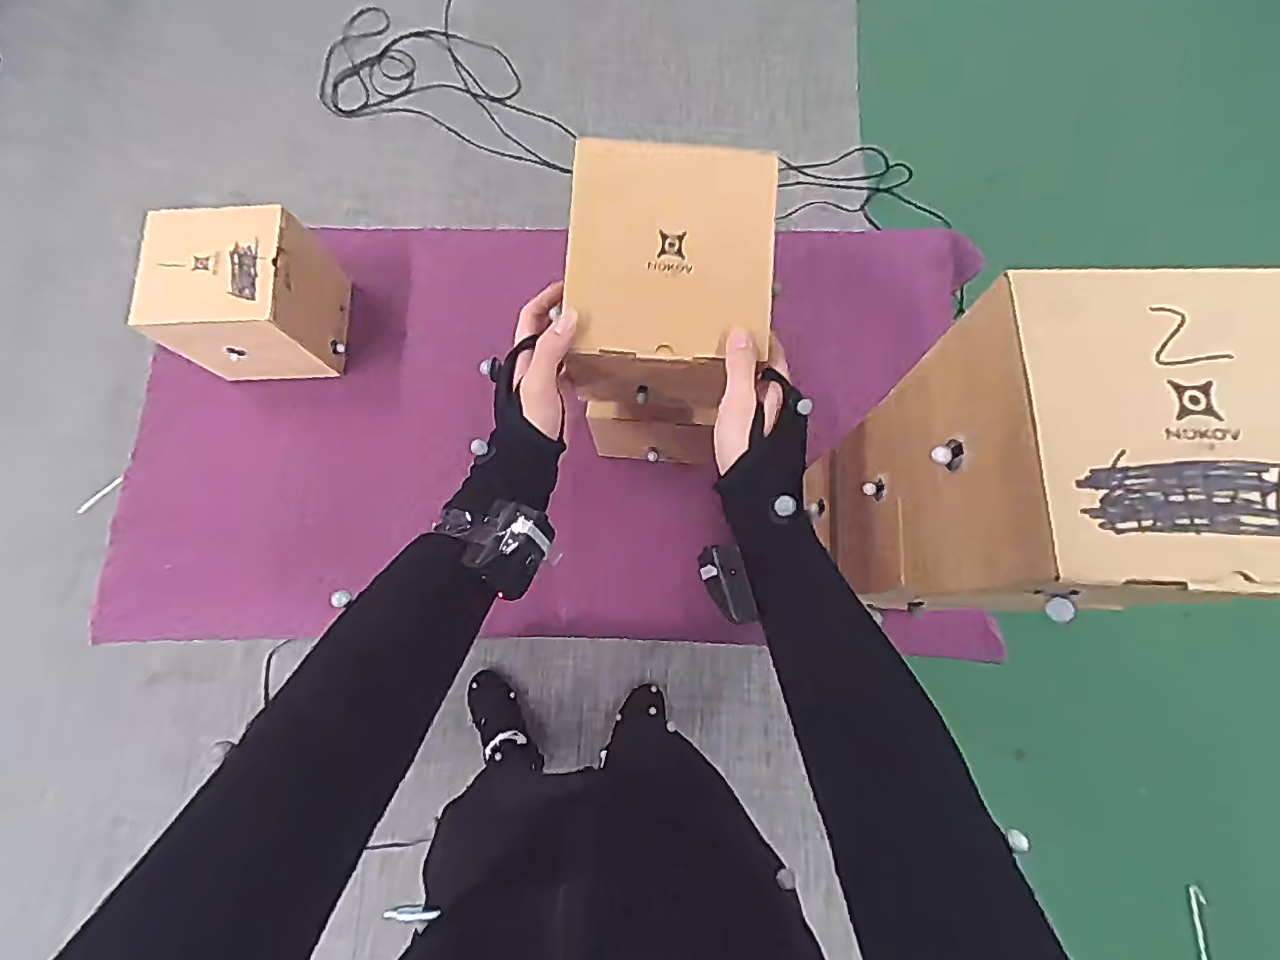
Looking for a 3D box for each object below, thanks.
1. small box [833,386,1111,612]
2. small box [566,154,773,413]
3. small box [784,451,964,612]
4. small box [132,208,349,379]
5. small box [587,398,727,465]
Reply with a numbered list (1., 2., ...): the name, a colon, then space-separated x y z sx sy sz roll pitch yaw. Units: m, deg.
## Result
1. small box: 0.292 0.029 0.518 0.168 0.176 0.179 5 77 3
2. small box: 0.023 -0.173 0.525 0.168 0.176 0.179 4 85 -2
3. small box: 0.291 0.072 0.676 0.179 0.176 0.168 5 76 2
4. small box: -0.535 -0.250 0.754 0.179 0.176 0.168 -2 77 0
5. small box: 0.027 -0.131 0.726 0.168 0.176 0.179 5 77 2
